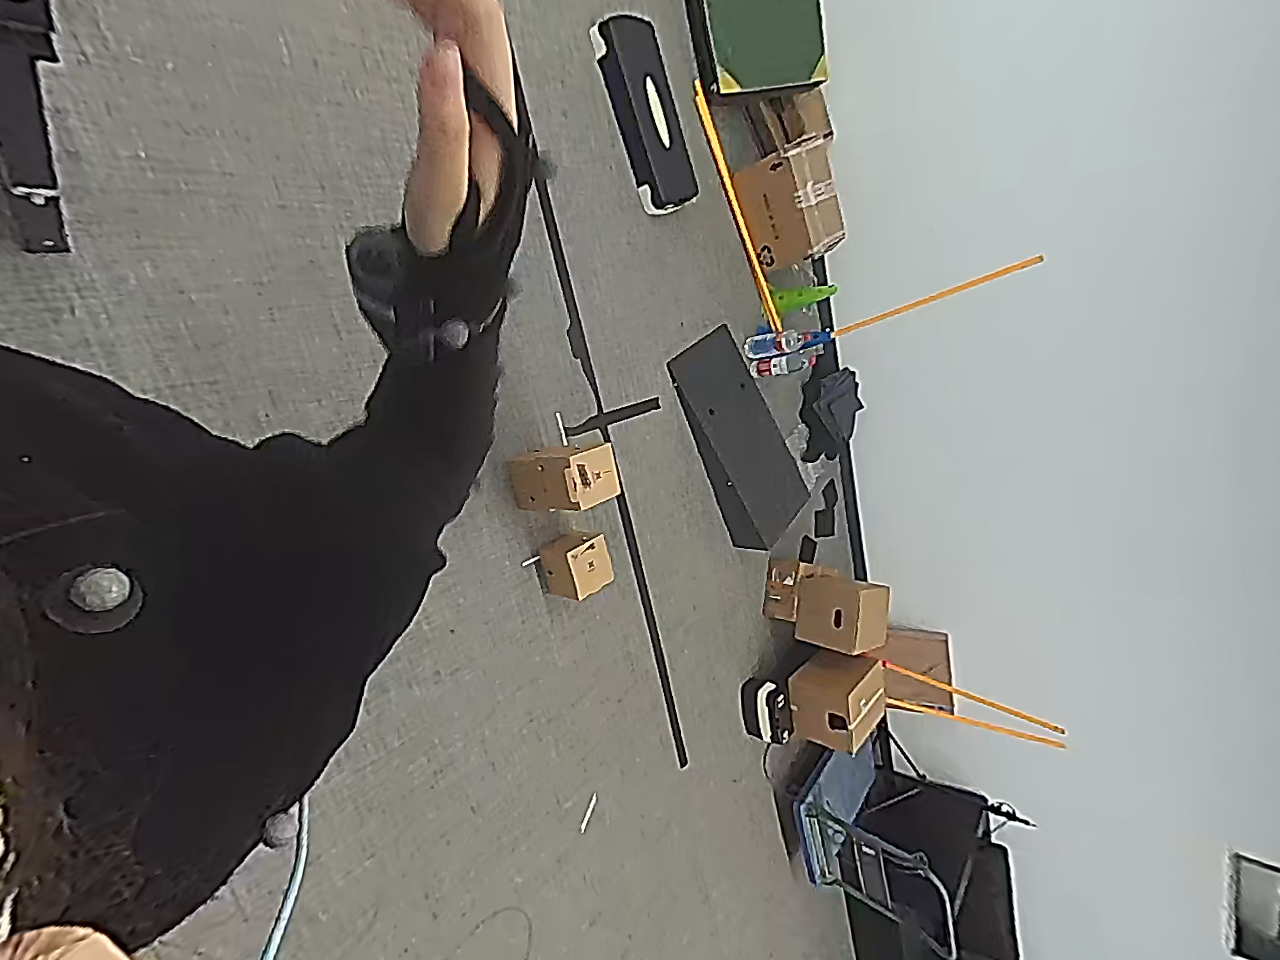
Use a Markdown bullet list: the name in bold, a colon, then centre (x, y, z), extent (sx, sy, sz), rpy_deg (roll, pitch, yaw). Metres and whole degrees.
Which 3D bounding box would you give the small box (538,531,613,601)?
- **small box**: centre (-0.222, 0.289, 1.853), extent (0.168, 0.176, 0.179), rpy_deg (-26, 110, -43)

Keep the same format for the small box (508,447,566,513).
- **small box**: centre (-0.304, -0.007, 1.764), extent (0.168, 0.176, 0.179), rpy_deg (-27, 110, -42)

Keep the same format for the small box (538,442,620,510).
- **small box**: centre (-0.191, -0.013, 1.645), extent (0.179, 0.176, 0.168), rpy_deg (-24, 108, -44)
